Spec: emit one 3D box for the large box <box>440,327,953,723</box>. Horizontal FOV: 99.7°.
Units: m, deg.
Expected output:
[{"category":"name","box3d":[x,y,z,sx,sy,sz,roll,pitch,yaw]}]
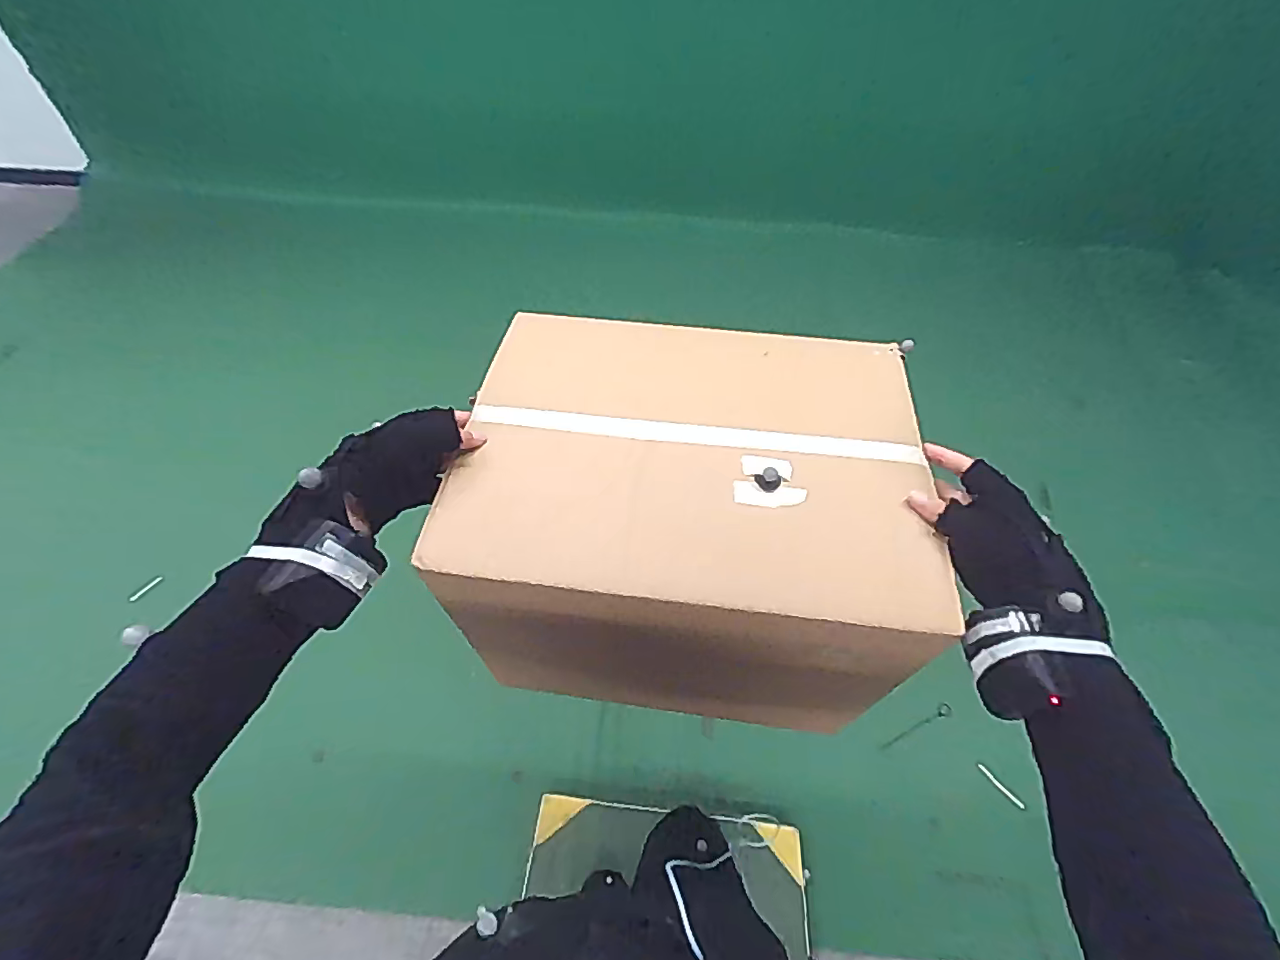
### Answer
[{"category":"large box","box3d":[0.051,0.059,0.617,0.408,0.320,0.320,7,54,4]}]
